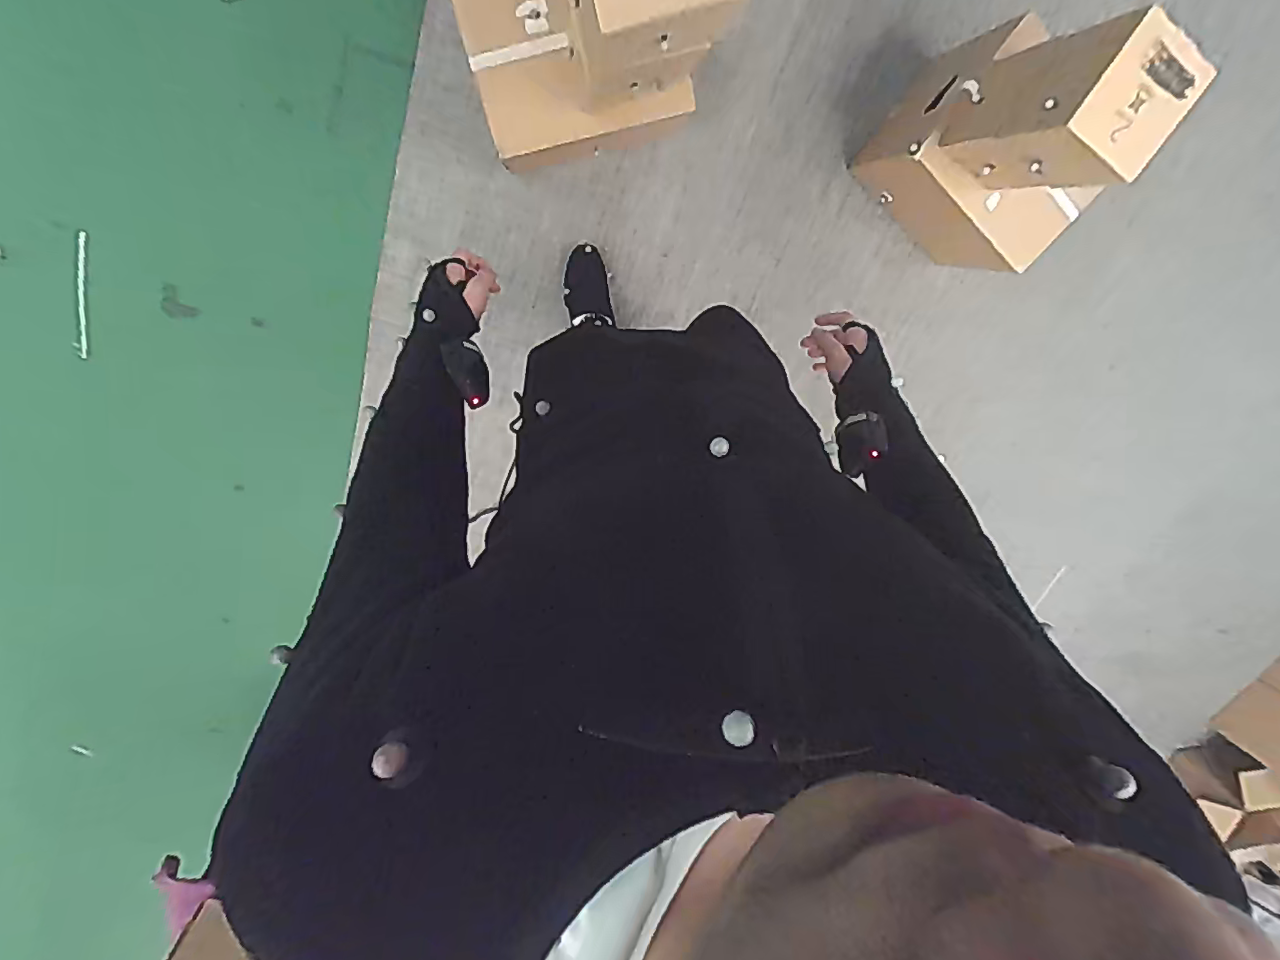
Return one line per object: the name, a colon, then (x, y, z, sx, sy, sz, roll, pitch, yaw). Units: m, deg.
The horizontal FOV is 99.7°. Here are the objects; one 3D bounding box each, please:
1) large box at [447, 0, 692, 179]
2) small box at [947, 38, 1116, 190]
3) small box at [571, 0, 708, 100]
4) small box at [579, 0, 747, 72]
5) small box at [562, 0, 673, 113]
large box: (-0.136, -0.863, 1.134, 0.408, 0.320, 0.320, -15, 113, 1)
small box: (0.738, -0.689, 1.049, 0.168, 0.176, 0.179, 26, 109, -17)
small box: (-0.010, -0.684, 0.779, 0.168, 0.176, 0.179, -13, 116, 0)
small box: (0.012, -0.614, 0.633, 0.179, 0.176, 0.168, -14, 115, 2)
small box: (-0.031, -0.756, 0.924, 0.179, 0.176, 0.168, -15, 114, 0)
